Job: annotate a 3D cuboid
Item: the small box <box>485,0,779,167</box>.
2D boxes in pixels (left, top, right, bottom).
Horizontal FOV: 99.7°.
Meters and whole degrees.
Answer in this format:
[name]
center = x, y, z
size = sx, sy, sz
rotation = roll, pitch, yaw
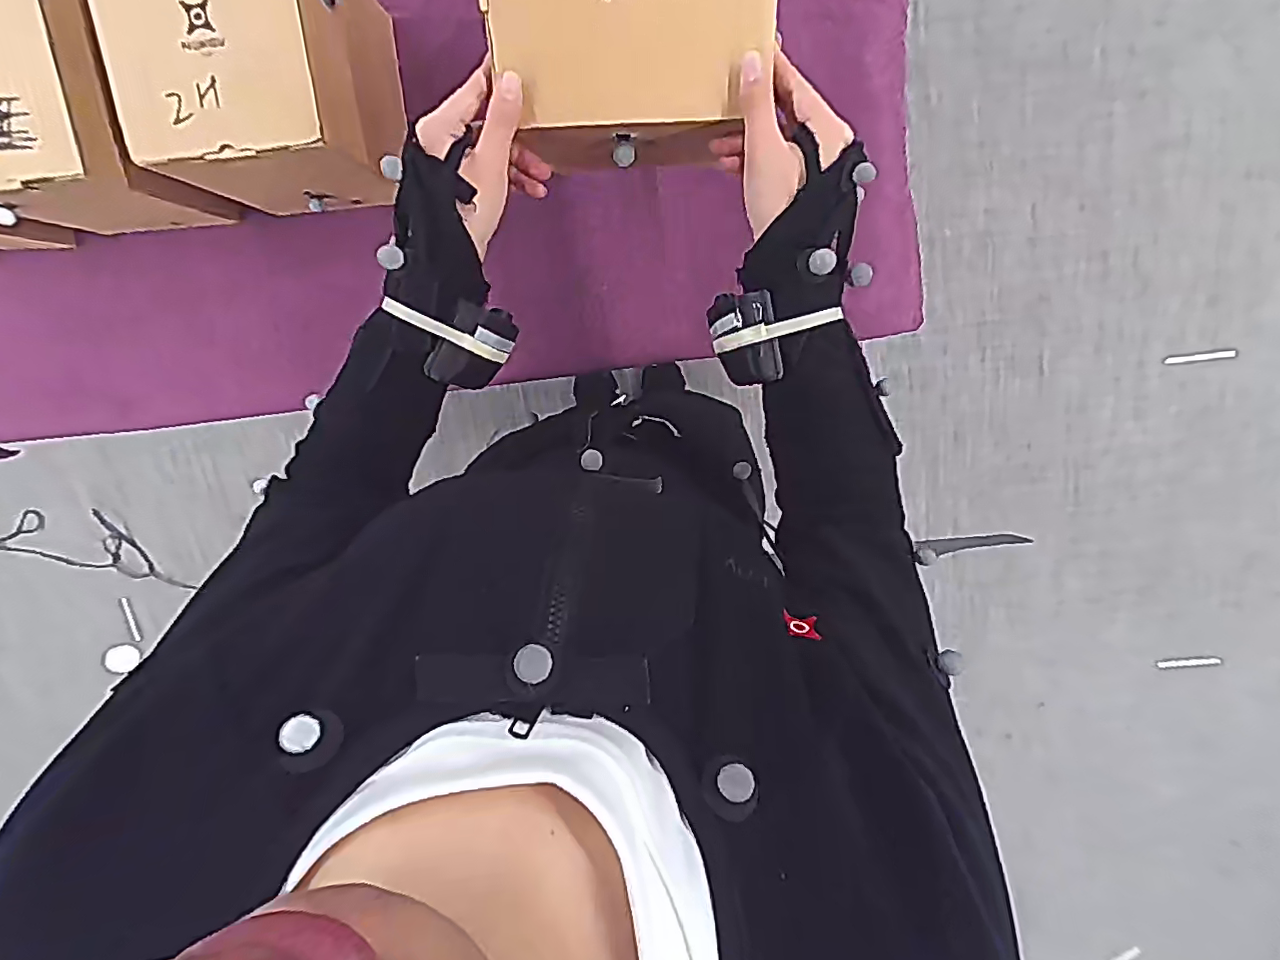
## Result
[small box]
center = -0.001, -0.329, 0.383
size = 0.179, 0.176, 0.168
rotation = 1, 112, 4
